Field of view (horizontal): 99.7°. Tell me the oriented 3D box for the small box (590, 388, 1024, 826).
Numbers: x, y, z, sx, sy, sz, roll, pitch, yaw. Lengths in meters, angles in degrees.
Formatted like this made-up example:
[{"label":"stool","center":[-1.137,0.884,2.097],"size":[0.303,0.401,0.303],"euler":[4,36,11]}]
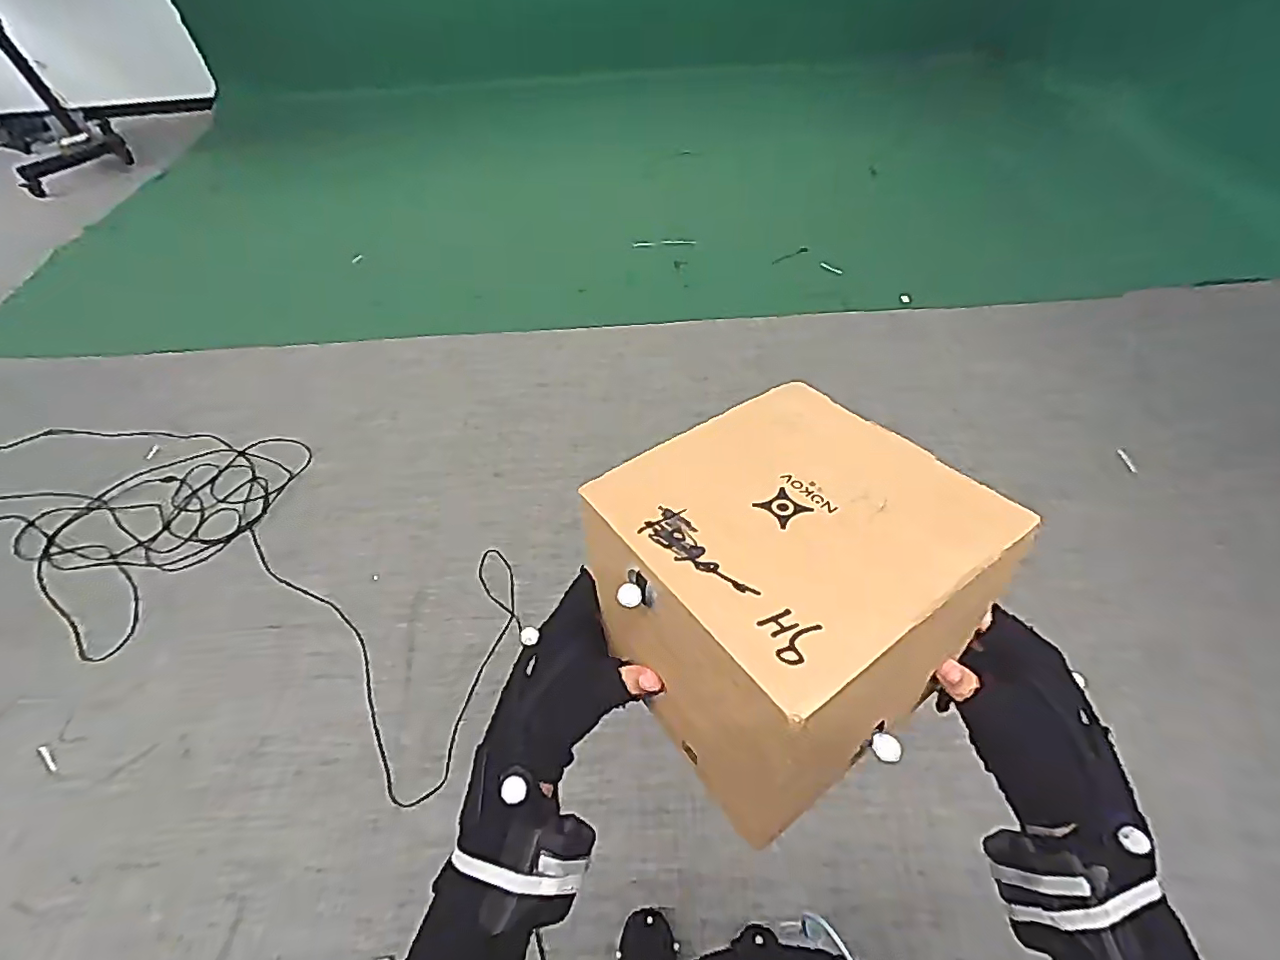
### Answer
[{"label":"small box","center":[0.087,0.073,0.348],"size":[0.179,0.176,0.168],"euler":[-26,46,-23]}]
